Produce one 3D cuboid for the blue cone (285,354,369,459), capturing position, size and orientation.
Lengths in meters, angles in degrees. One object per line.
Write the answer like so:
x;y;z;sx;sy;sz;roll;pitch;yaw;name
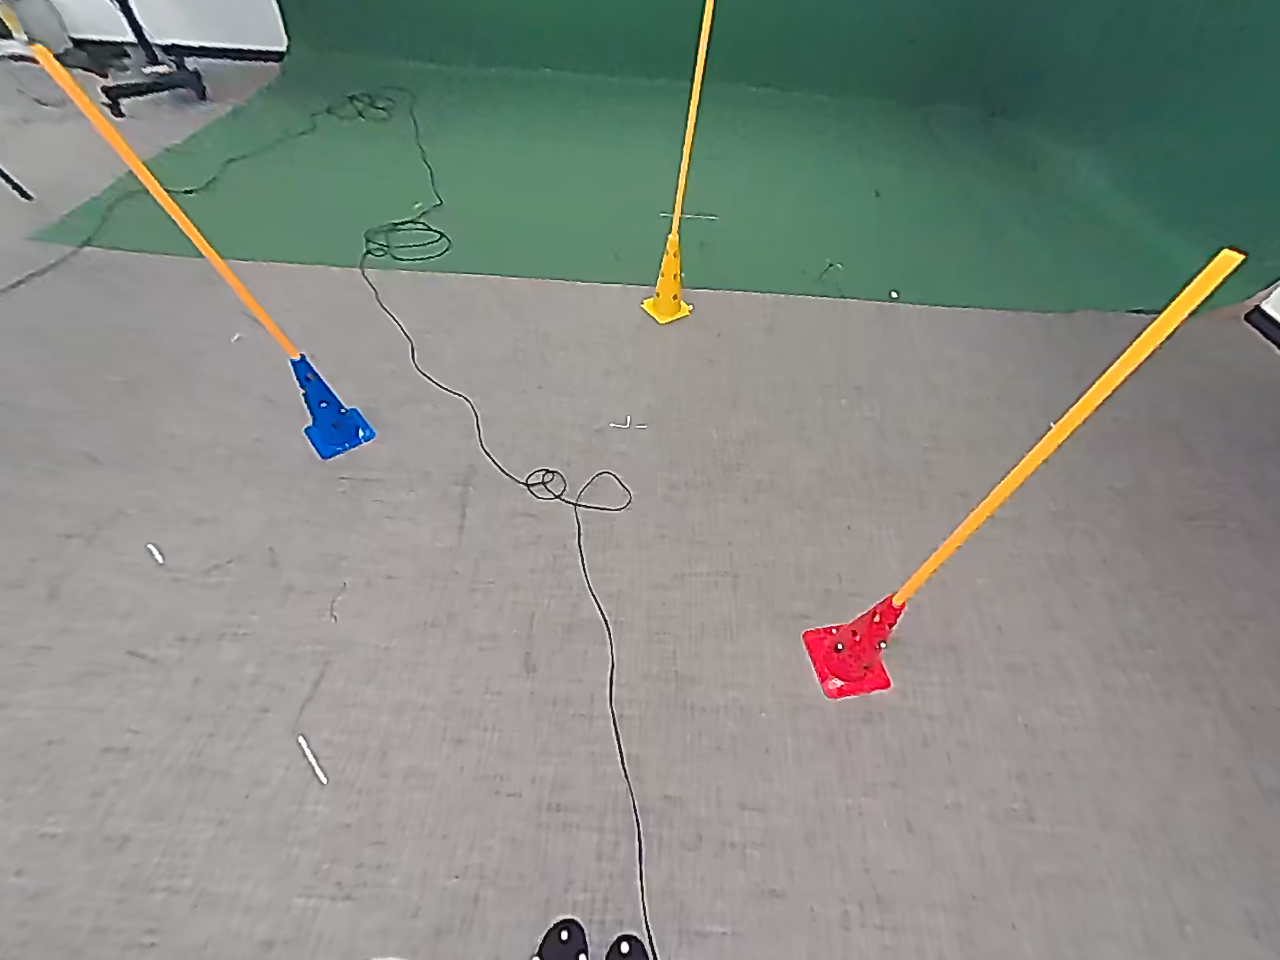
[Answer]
-1.102;-0.266;1.845;0.193;0.380;0.192;-35;61;-25;blue cone
